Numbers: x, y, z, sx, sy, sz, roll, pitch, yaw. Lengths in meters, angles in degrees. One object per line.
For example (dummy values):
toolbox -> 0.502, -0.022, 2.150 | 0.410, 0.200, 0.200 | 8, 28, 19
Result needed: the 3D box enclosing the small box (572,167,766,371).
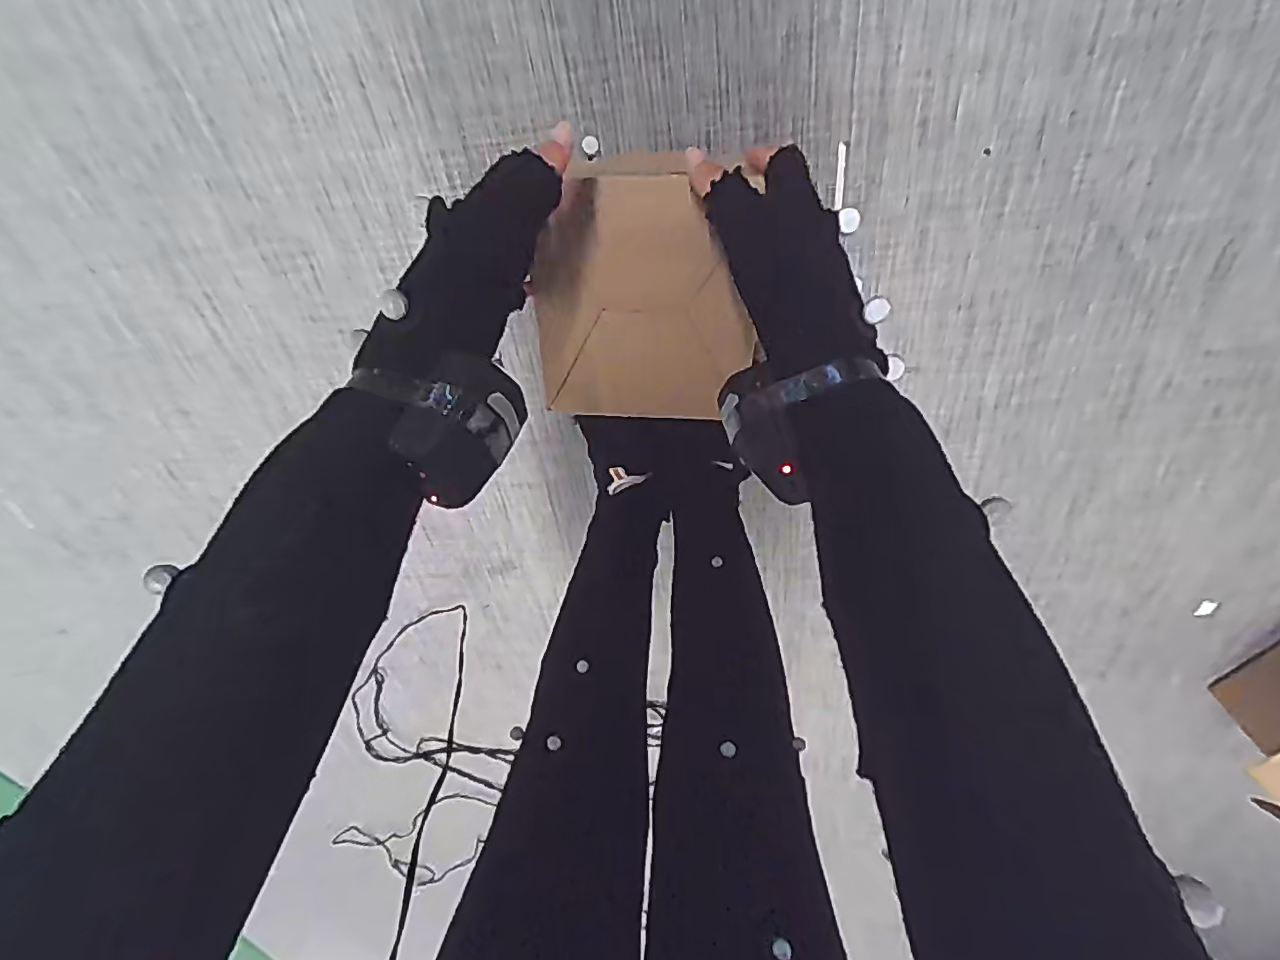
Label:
small box -> 0.040, -0.243, 0.612 | 0.179, 0.176, 0.168 | -7, 122, 12
